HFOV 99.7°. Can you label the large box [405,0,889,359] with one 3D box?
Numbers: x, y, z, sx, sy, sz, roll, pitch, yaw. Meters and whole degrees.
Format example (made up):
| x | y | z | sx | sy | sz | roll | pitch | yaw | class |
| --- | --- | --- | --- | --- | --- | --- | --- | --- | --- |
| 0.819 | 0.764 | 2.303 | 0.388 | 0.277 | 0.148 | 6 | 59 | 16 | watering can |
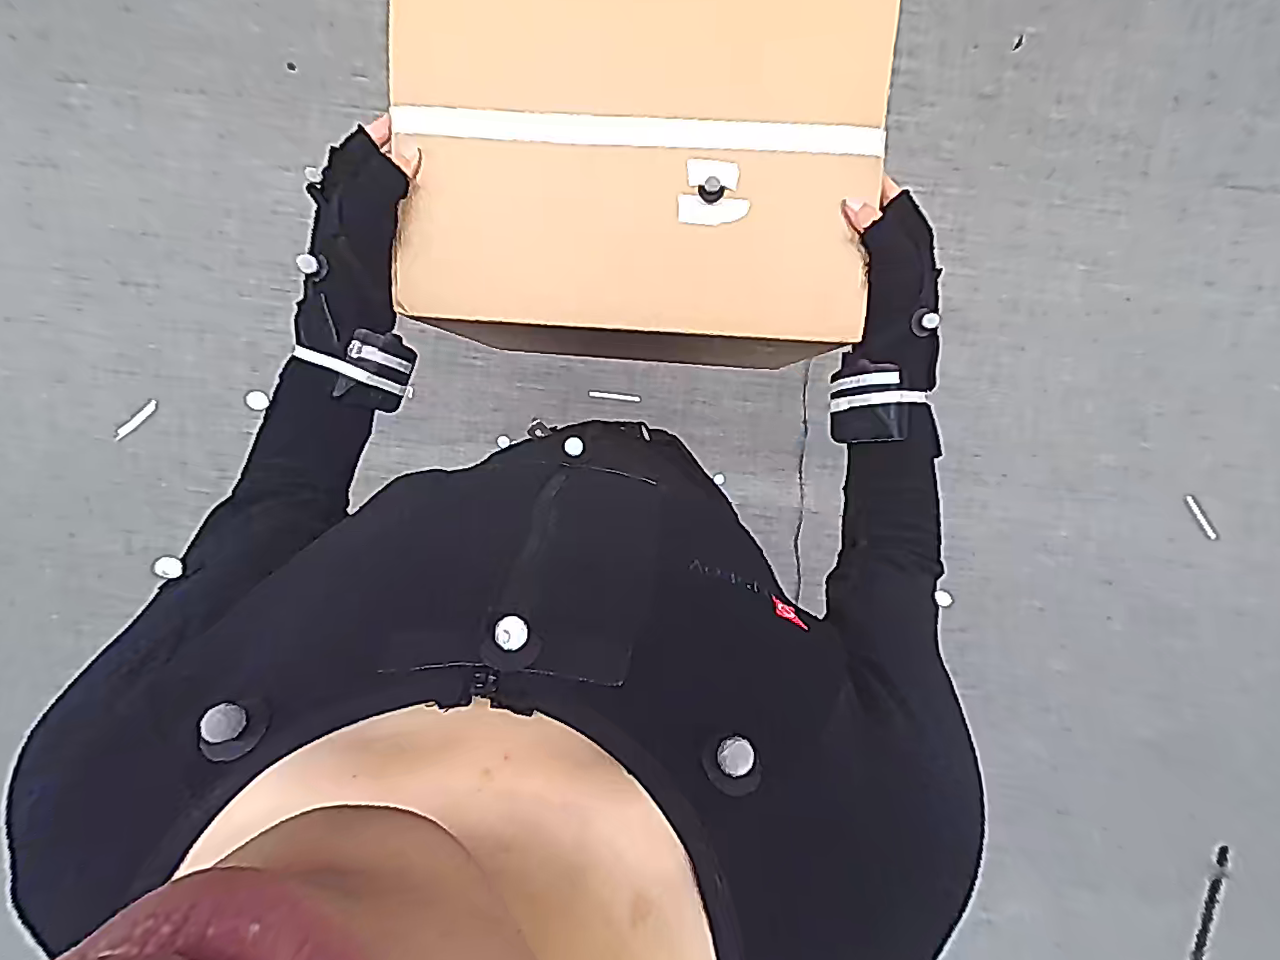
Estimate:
| x | y | z | sx | sy | sz | roll | pitch | yaw | class |
| --- | --- | --- | --- | --- | --- | --- | --- | --- | --- |
| 0.001 | -0.312 | 0.602 | 0.408 | 0.320 | 0.320 | 4 | 98 | 1 | large box |
